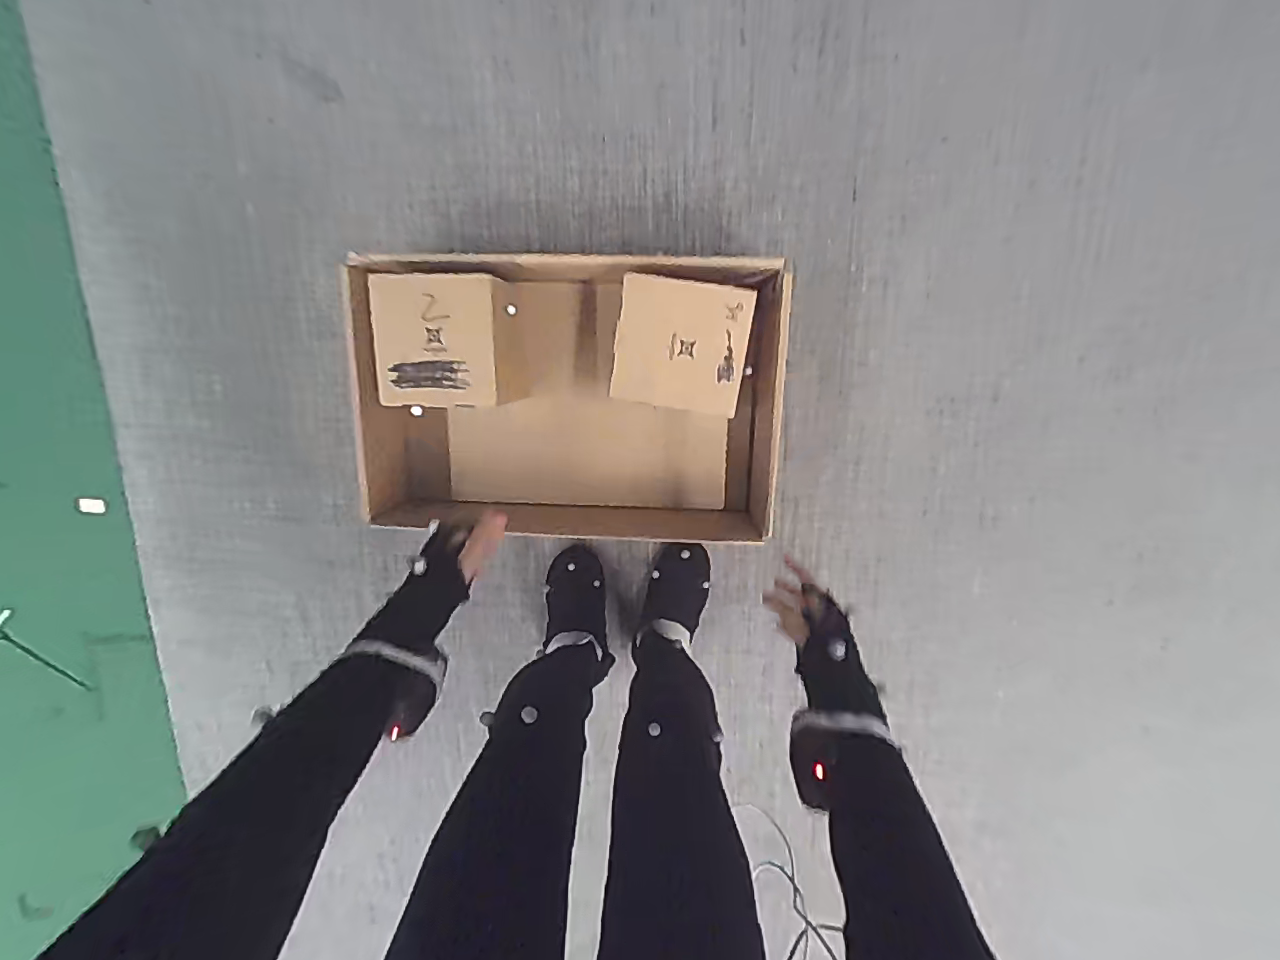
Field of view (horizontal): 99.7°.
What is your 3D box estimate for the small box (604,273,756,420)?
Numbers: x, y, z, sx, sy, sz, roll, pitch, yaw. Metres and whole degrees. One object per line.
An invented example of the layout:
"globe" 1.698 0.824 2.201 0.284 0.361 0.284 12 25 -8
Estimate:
"small box" 0.058 -0.190 0.790 0.179 0.176 0.168 11 104 3
